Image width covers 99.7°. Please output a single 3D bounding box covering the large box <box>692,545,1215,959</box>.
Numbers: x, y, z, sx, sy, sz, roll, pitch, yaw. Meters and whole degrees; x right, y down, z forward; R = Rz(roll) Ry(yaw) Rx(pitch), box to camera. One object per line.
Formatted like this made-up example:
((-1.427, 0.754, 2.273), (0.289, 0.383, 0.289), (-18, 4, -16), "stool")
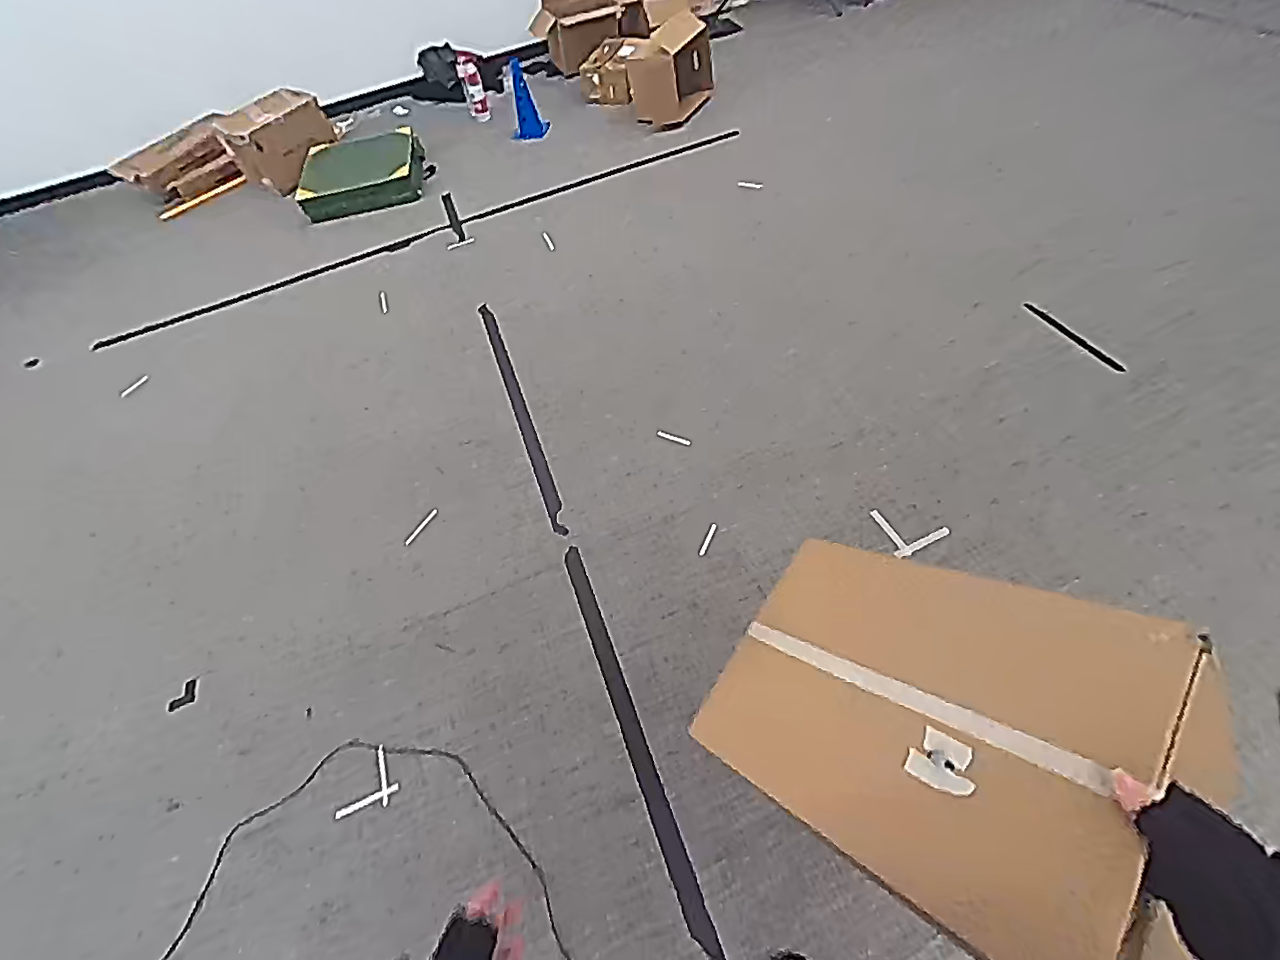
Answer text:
((0.348, 0.318, 0.627), (0.408, 0.320, 0.320), (10, 58, 52), "large box")
